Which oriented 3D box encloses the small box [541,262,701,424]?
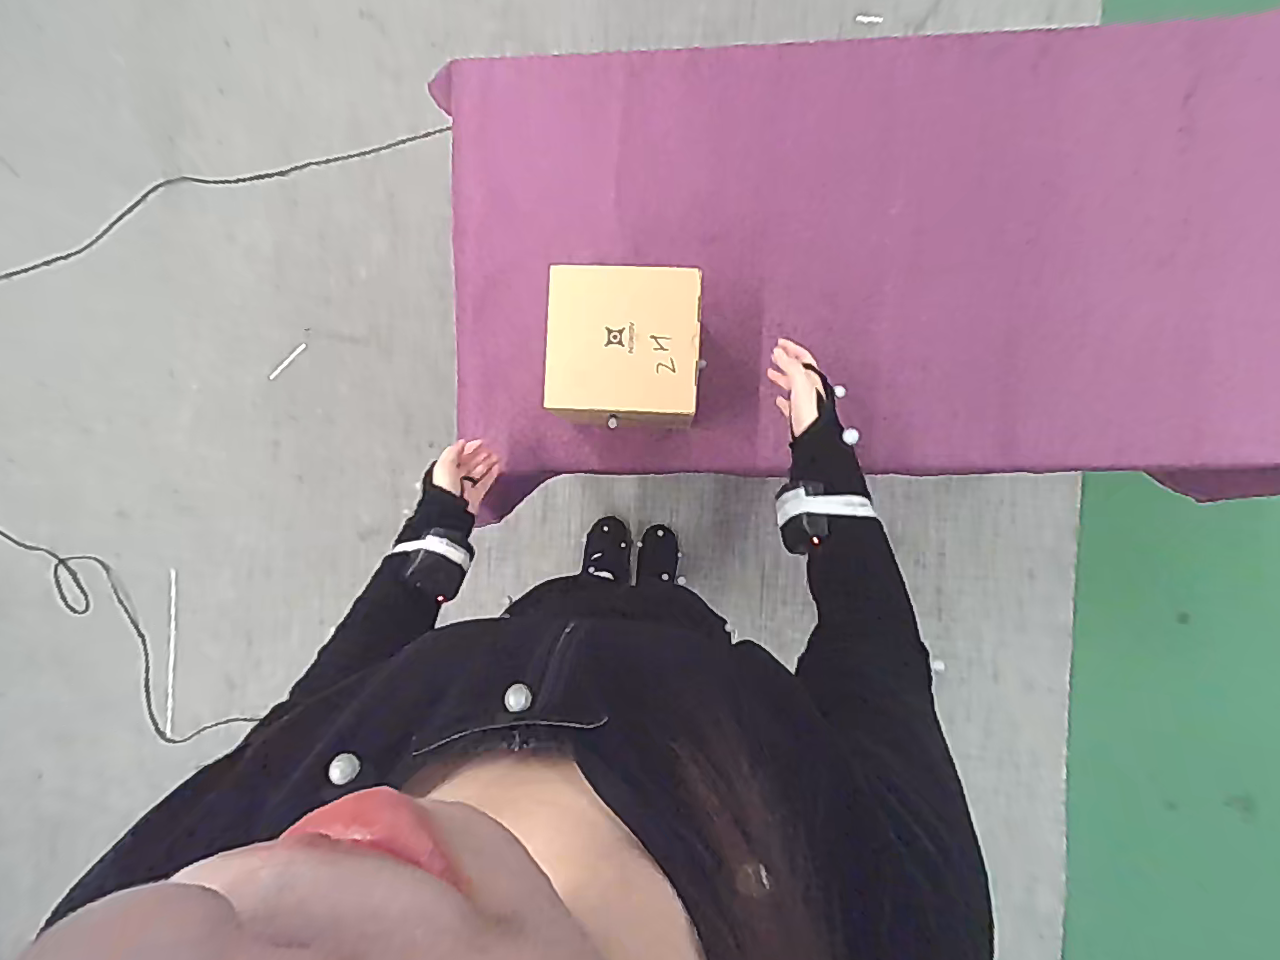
[{"bbox_3d":[-0.017,-0.163,0.691,0.179,0.176,0.168,3,91,4],"label":"small box"}]
